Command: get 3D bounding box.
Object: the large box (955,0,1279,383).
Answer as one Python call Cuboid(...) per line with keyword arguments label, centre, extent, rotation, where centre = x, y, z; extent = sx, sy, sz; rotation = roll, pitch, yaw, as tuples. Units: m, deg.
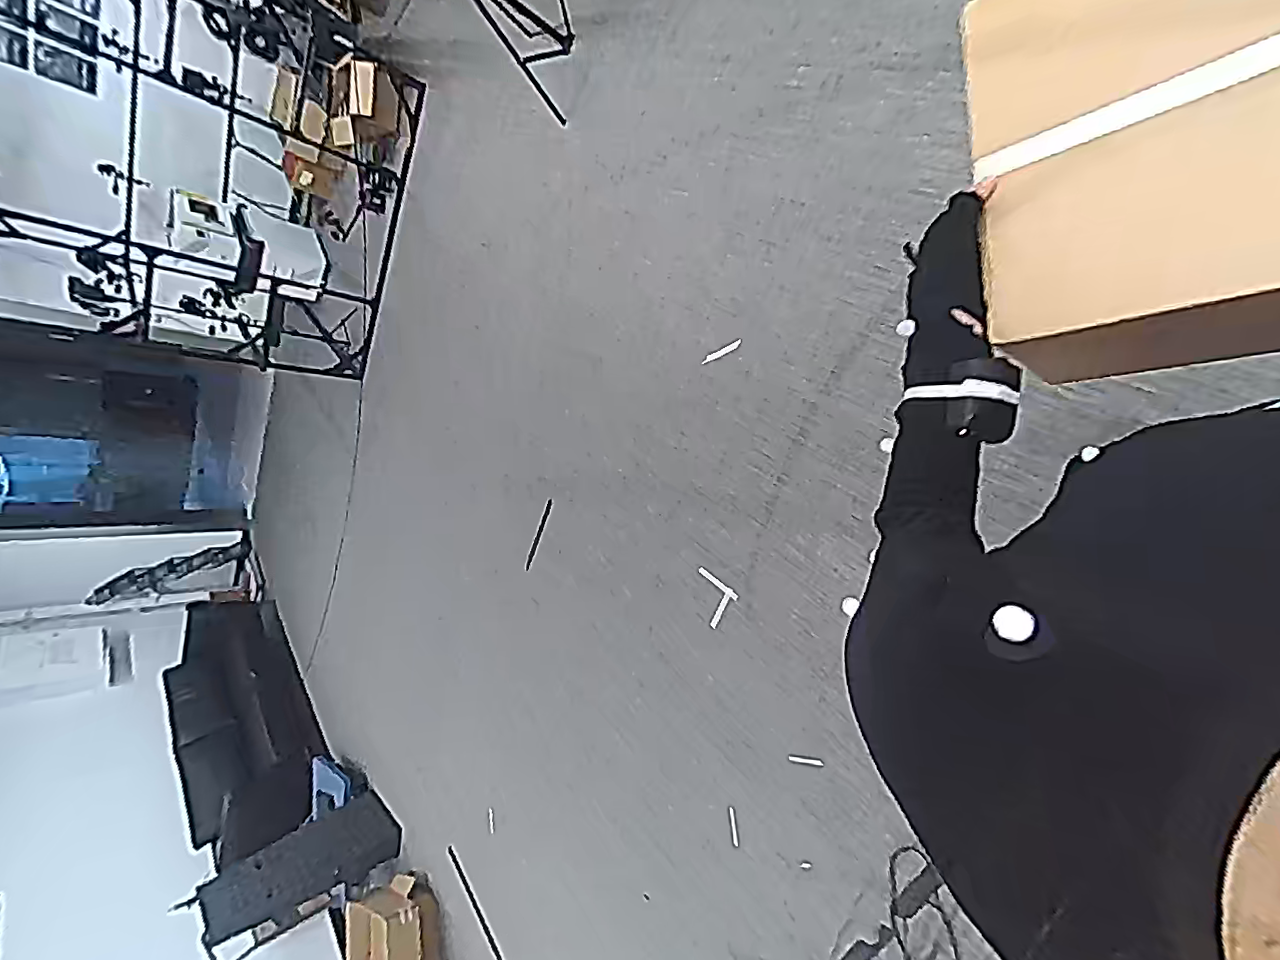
Cuboid(label="large box", centre=(0.550, -0.293, 0.469), extent=(0.408, 0.320, 0.320), rotation=(-7, 86, 44))
